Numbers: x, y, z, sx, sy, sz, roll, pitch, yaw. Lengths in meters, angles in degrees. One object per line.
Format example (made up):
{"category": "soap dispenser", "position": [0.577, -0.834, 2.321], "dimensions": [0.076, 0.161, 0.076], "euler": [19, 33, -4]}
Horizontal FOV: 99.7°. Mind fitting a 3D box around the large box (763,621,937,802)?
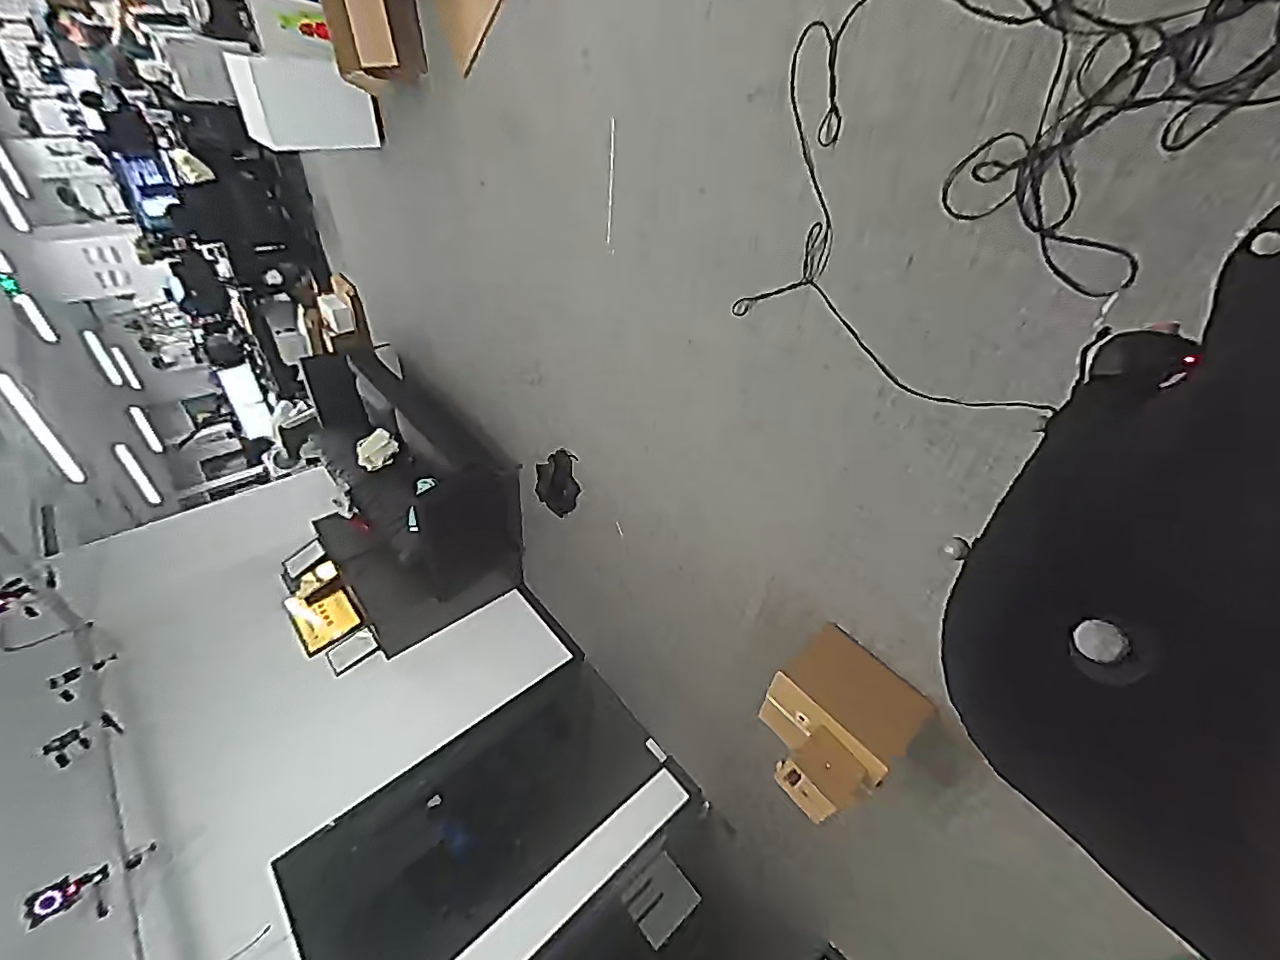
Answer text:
{"category": "large box", "position": [0.698, 0.770, 1.834], "dimensions": [0.408, 0.320, 0.320], "euler": [40, 140, 34]}
